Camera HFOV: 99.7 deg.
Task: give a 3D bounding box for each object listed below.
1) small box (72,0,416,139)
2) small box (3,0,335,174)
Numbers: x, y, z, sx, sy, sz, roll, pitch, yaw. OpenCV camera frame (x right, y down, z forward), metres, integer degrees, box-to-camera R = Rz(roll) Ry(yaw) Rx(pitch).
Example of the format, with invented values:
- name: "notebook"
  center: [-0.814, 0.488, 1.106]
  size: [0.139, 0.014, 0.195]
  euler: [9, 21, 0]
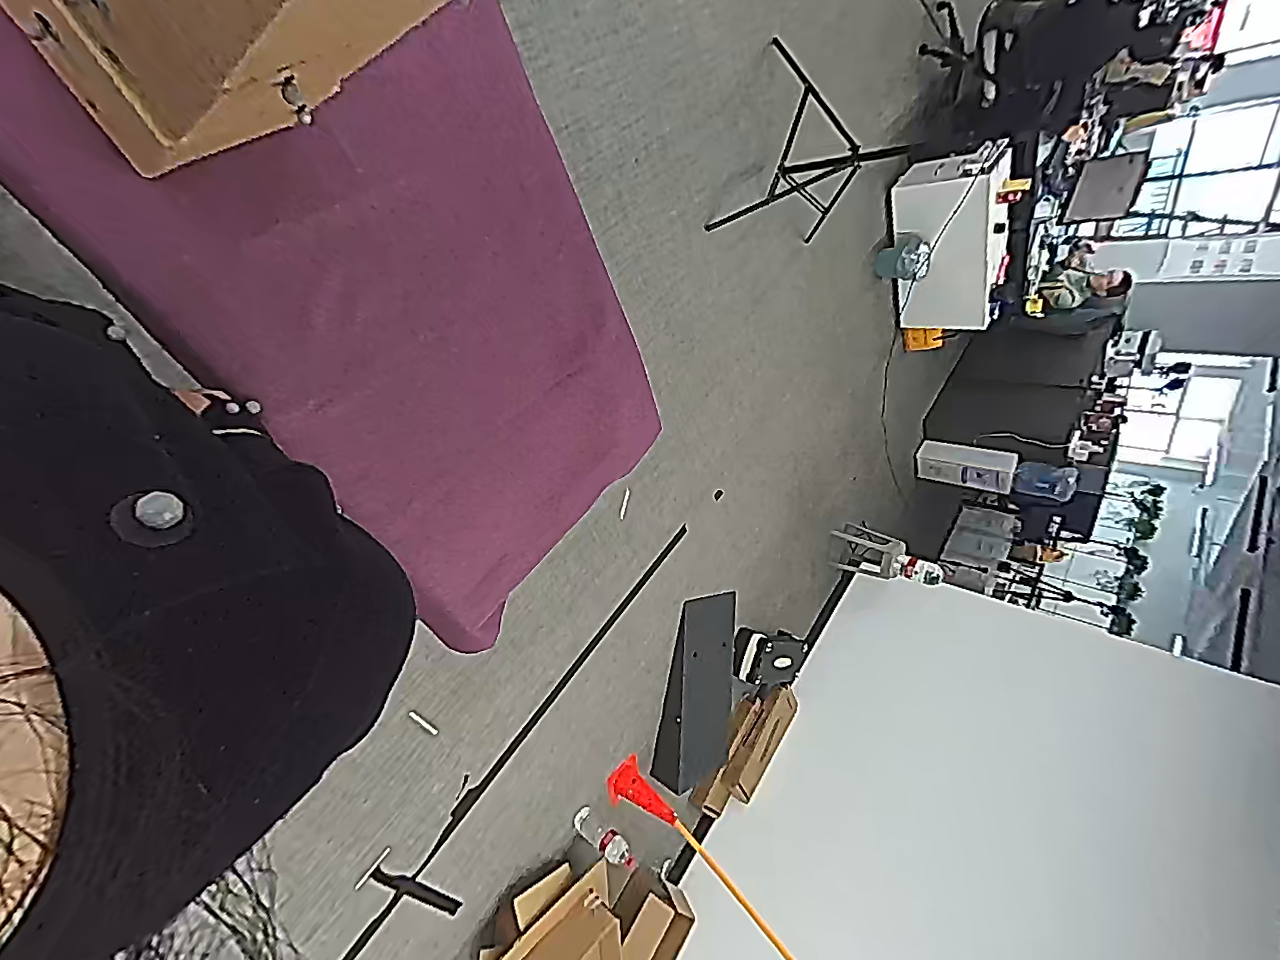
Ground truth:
- name: "small box"
  center: [-0.314, -0.383, 0.400]
  size: [0.179, 0.176, 0.168]
  euler: [-49, 134, -26]
- name: "small box"
  center: [-0.437, -0.411, 0.504]
  size: [0.179, 0.176, 0.168]
  euler: [-48, 133, -29]
